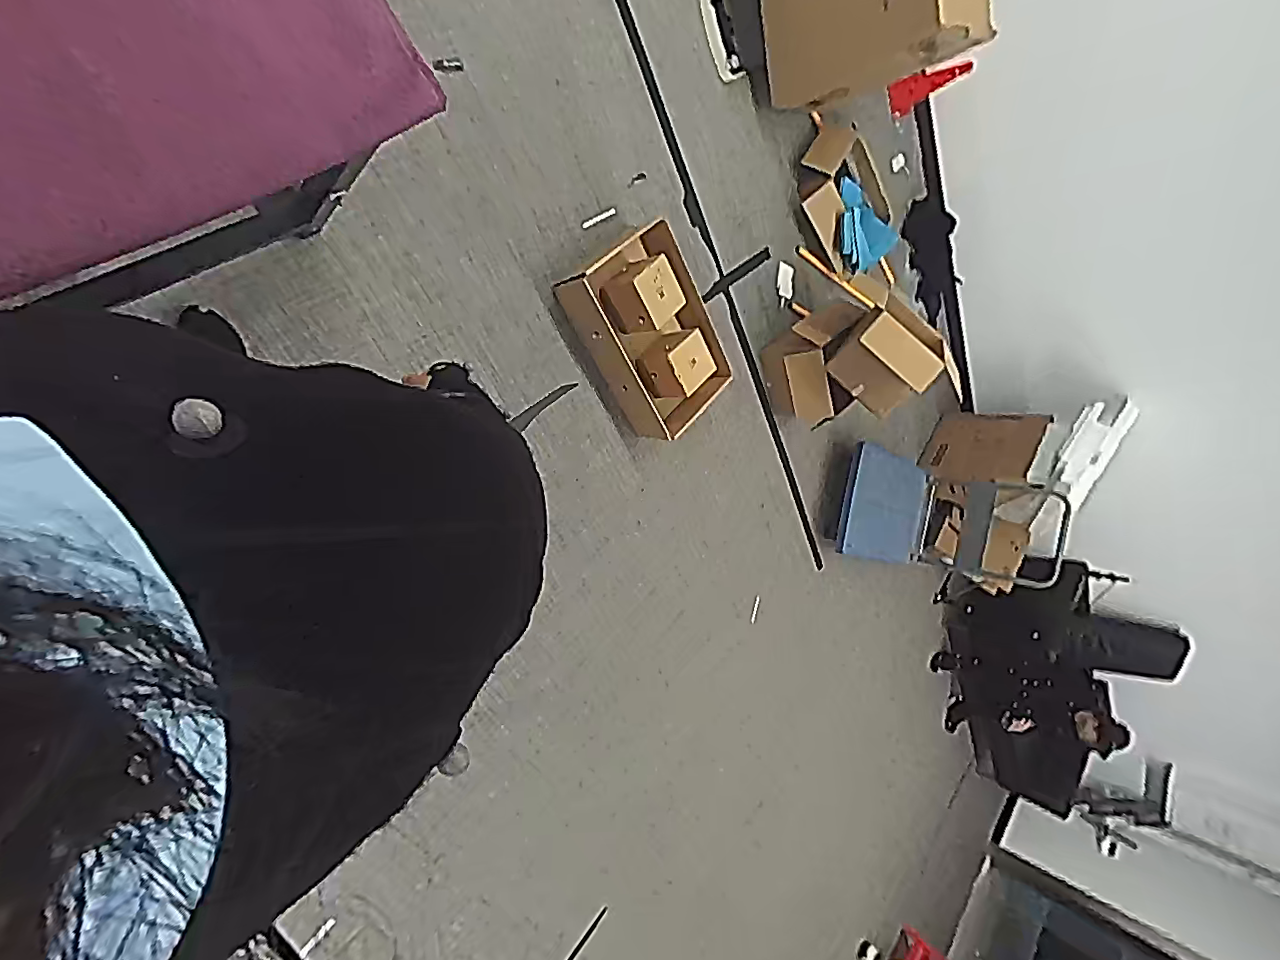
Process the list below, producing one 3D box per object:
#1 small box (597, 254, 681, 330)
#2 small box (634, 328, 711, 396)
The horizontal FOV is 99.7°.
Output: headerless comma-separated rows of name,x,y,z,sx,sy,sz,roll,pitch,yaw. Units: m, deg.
small box,-0.004,-0.602,1.752,0.168,0.176,0.179,-49,125,-25
small box,0.111,-0.408,1.882,0.179,0.176,0.168,-47,122,-26
